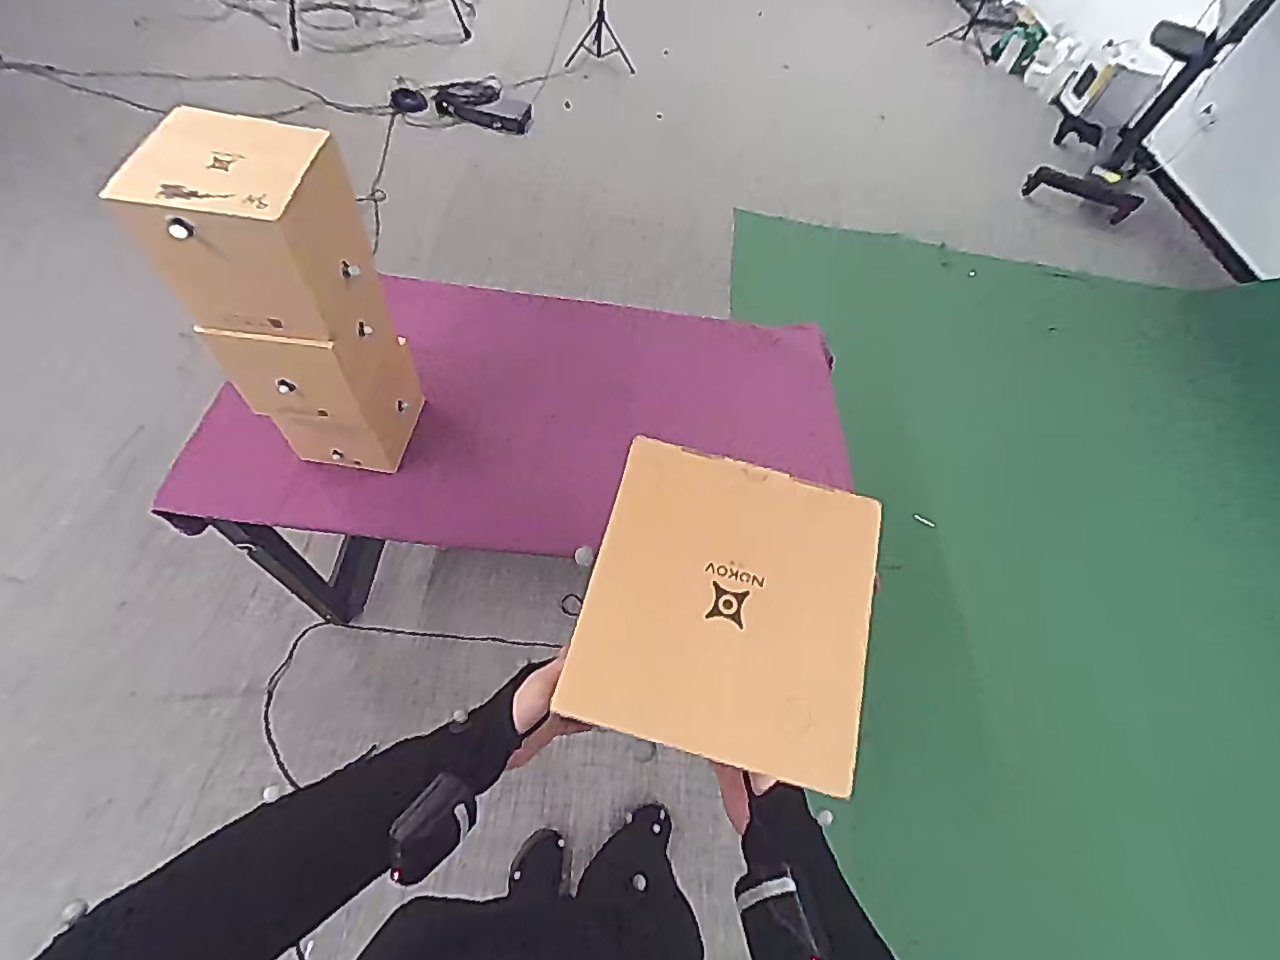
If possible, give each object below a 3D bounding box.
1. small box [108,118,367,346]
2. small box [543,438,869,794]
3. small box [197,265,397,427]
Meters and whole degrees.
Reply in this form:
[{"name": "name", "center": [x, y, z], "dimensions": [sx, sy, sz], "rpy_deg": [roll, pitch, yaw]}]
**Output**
[{"name": "small box", "center": [-0.450, -0.290, 0.648], "dimensions": [0.168, 0.176, 0.179], "rpy_deg": [5, 58, -6]}, {"name": "small box", "center": [0.044, 0.099, 0.395], "dimensions": [0.168, 0.176, 0.179], "rpy_deg": [15, 67, 4]}, {"name": "small box", "center": [-0.472, -0.197, 0.782], "dimensions": [0.168, 0.176, 0.179], "rpy_deg": [6, 58, -6]}]
